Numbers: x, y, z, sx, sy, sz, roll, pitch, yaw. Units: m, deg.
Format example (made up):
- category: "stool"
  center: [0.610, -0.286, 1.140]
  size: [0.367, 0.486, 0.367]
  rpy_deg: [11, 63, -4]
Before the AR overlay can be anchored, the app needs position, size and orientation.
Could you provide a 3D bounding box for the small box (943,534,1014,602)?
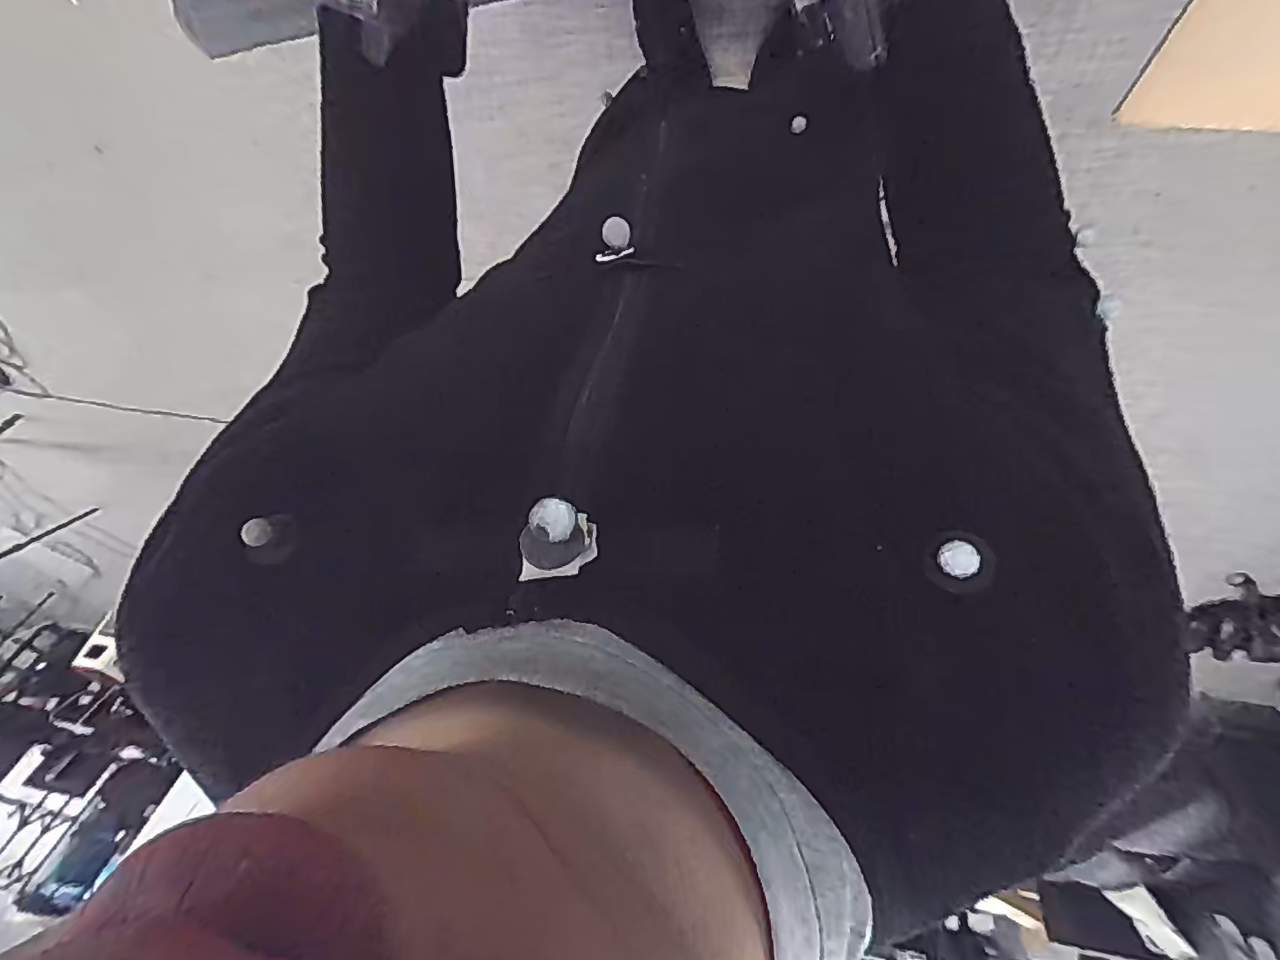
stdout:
- category: "small box"
  center: [1.224, 0.321, 1.972]
  size: [0.168, 0.176, 0.179]
  rpy_deg: [3, 136, 13]
